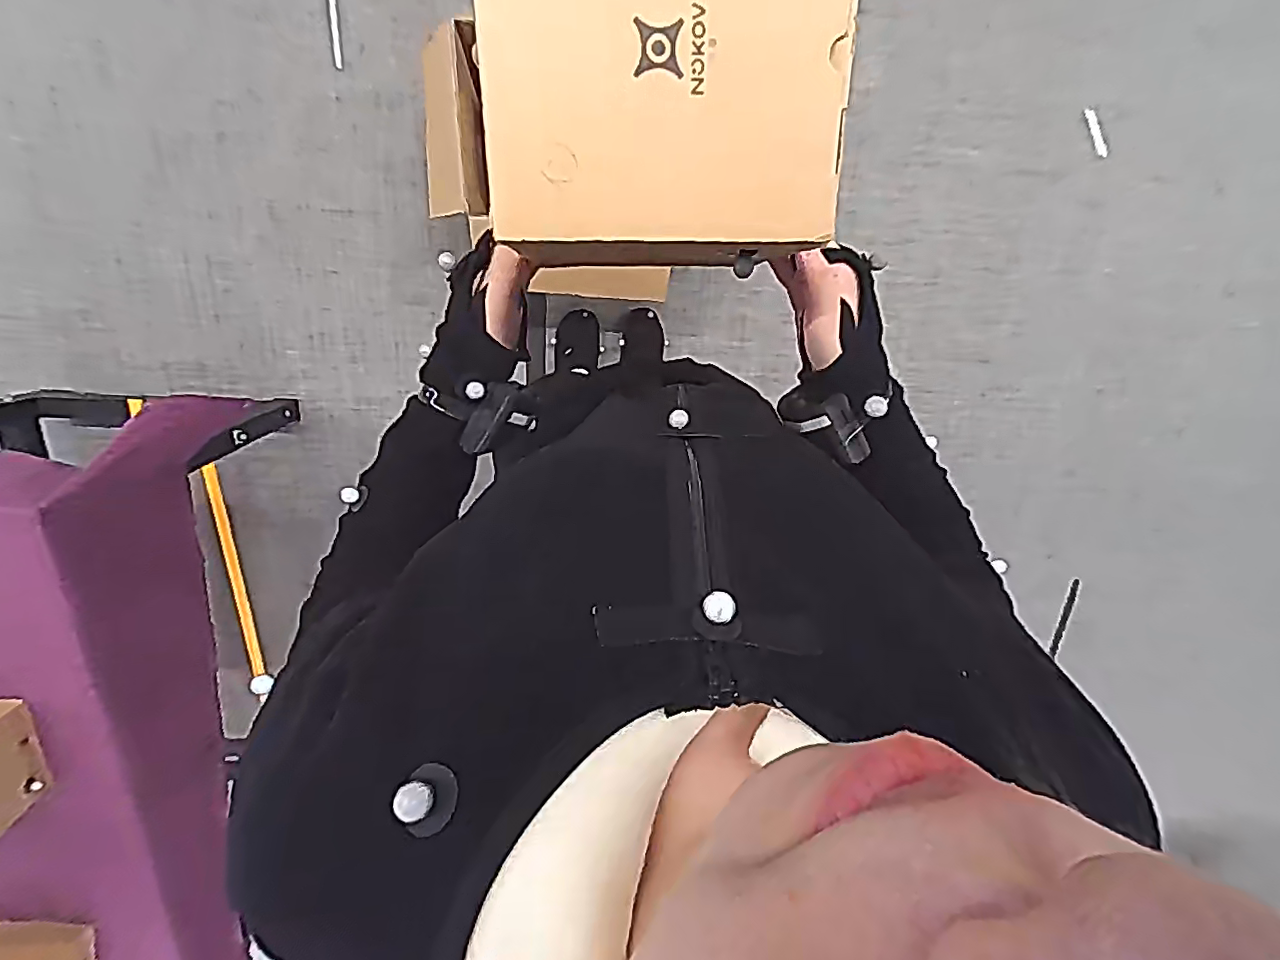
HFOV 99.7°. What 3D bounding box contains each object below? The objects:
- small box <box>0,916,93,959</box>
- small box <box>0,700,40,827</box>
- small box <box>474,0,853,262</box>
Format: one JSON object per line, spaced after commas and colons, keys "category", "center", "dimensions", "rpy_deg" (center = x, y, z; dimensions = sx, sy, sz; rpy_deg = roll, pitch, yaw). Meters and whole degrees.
{"category": "small box", "center": [-1.031, 0.839, 0.862], "dimensions": [0.179, 0.176, 0.168], "rpy_deg": [13, 107, -11]}
{"category": "small box", "center": [-0.961, 0.406, 0.710], "dimensions": [0.179, 0.176, 0.168], "rpy_deg": [5, 109, -7]}
{"category": "small box", "center": [0.006, -0.225, 0.324], "dimensions": [0.179, 0.176, 0.168], "rpy_deg": [-2, 108, -5]}
